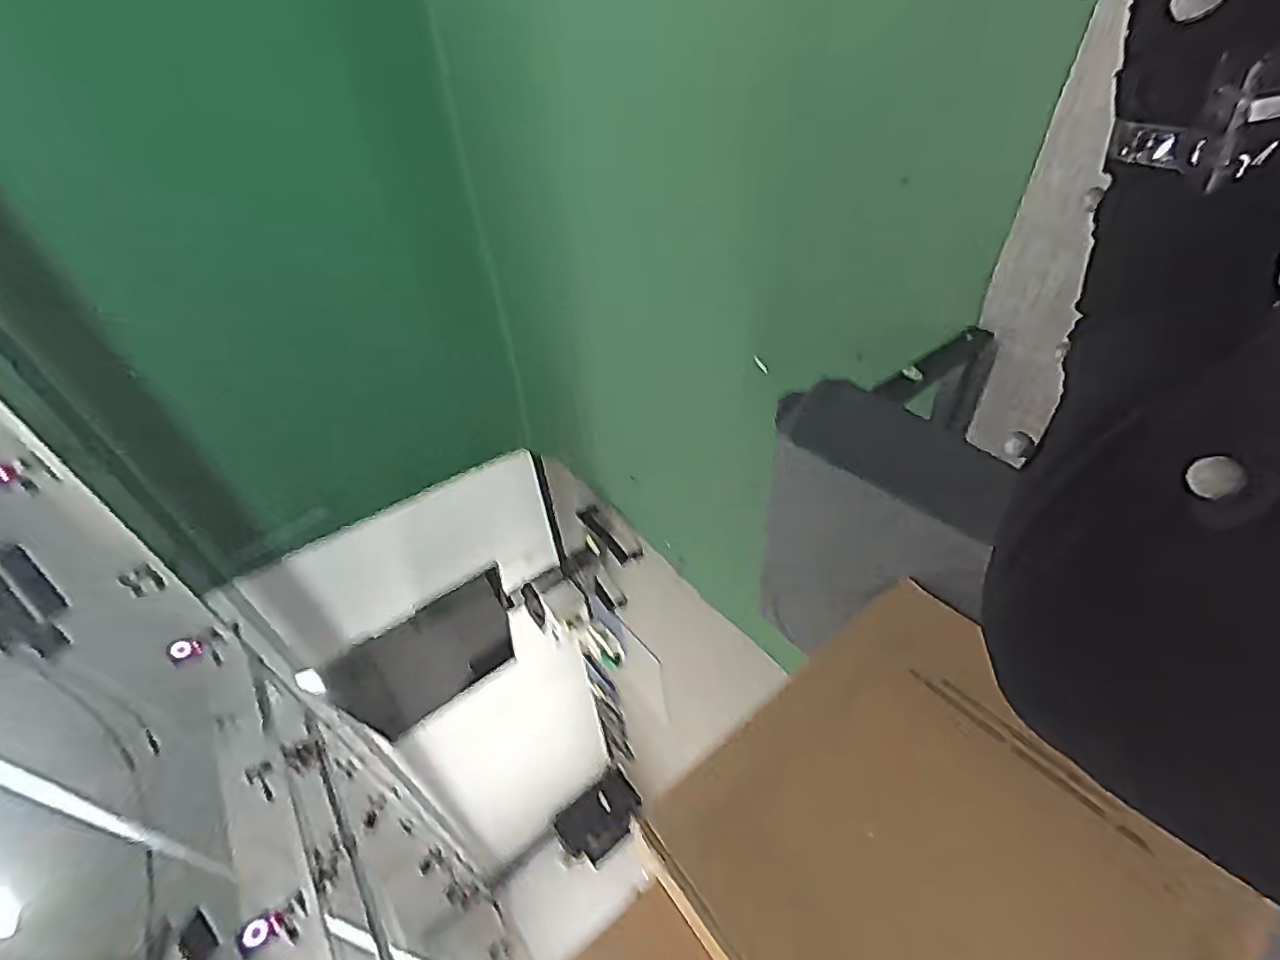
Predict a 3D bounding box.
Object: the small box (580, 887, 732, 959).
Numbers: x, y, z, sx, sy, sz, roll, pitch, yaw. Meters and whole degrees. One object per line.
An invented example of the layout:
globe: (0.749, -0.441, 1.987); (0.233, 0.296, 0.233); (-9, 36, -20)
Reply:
small box: (0.035, 0.650, 0.664); (0.179, 0.176, 0.168); (33, 142, 42)
